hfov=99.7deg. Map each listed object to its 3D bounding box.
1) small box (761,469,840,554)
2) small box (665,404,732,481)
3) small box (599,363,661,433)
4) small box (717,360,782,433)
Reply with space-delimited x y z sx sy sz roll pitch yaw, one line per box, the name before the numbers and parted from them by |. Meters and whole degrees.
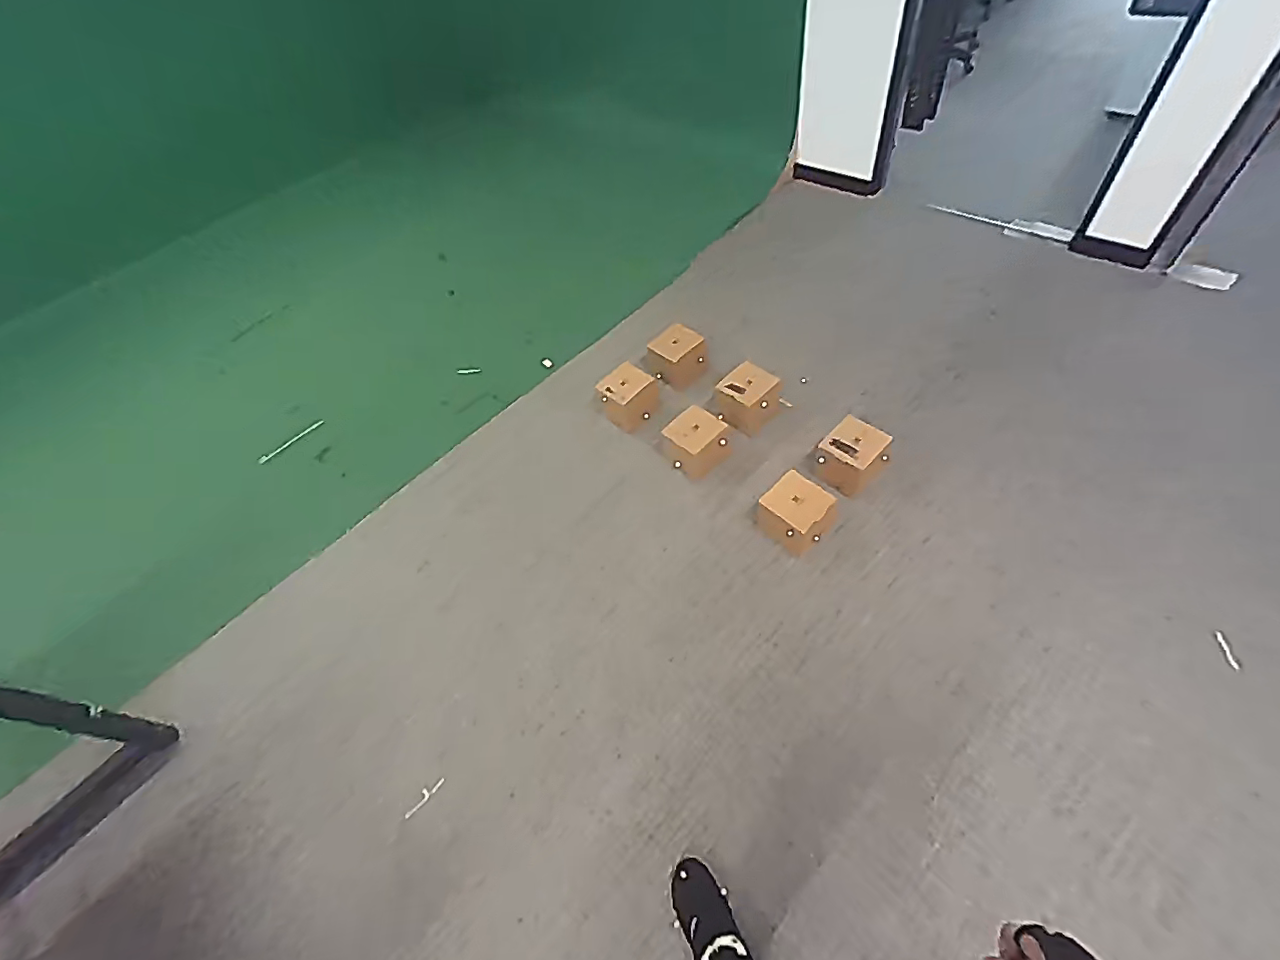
small box | 0.500 0.104 1.713 0.168 0.176 0.179 -41 58 -17
small box | 0.211 -0.132 1.936 0.179 0.176 0.168 -41 58 -18
small box | -0.033 -0.320 2.118 0.179 0.176 0.168 -42 57 -19
small box | 0.410 -0.306 2.020 0.179 0.176 0.168 -41 58 -18
